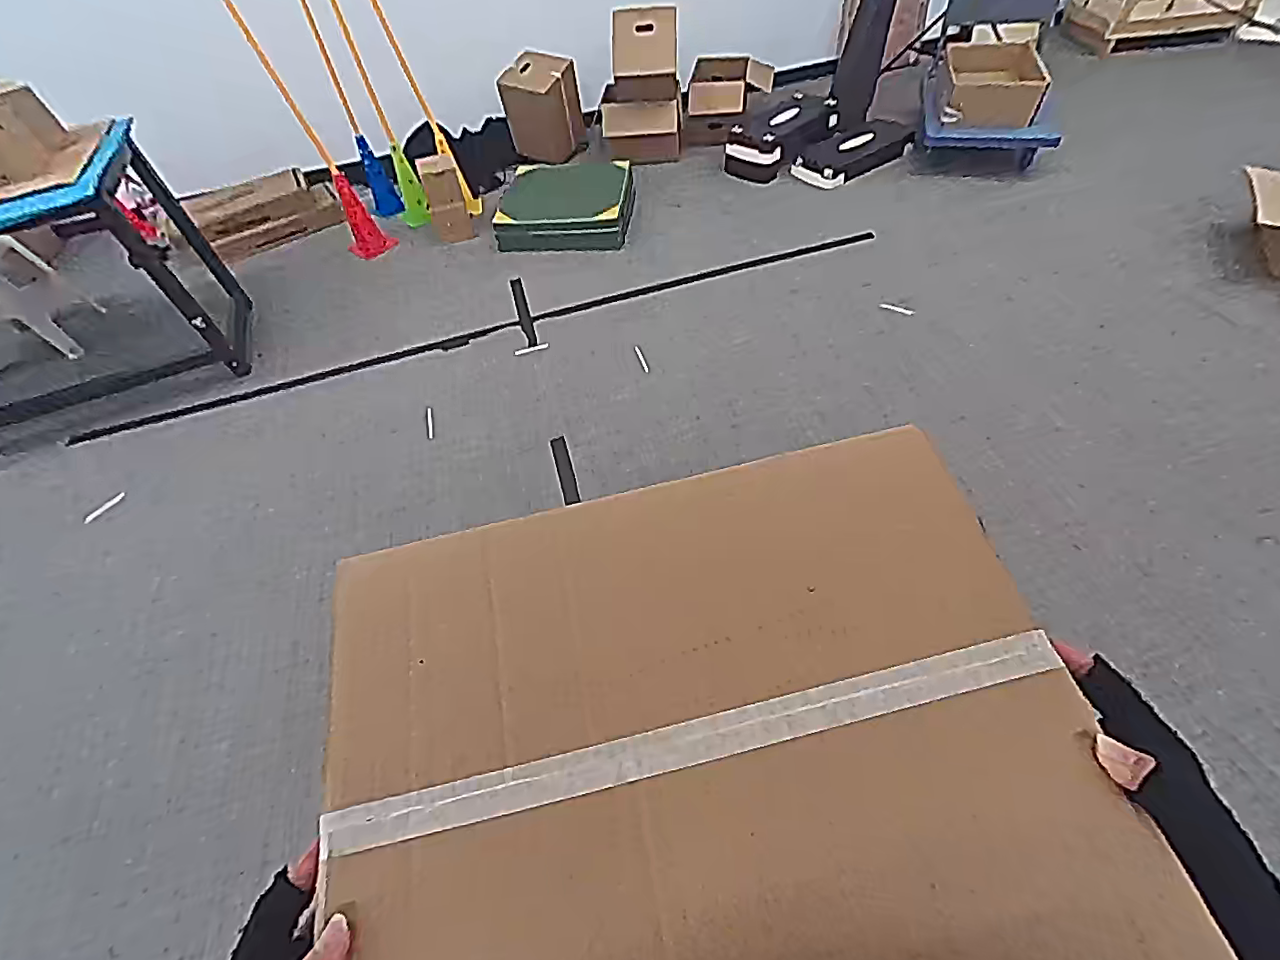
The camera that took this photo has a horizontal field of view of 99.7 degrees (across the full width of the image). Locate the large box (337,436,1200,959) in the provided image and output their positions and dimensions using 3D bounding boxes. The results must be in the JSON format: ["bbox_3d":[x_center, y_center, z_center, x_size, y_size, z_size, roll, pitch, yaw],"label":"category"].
[{"bbox_3d":[0.044,0.214,0.435,0.408,0.320,0.320,-14,61,-2],"label":"large box"}]
